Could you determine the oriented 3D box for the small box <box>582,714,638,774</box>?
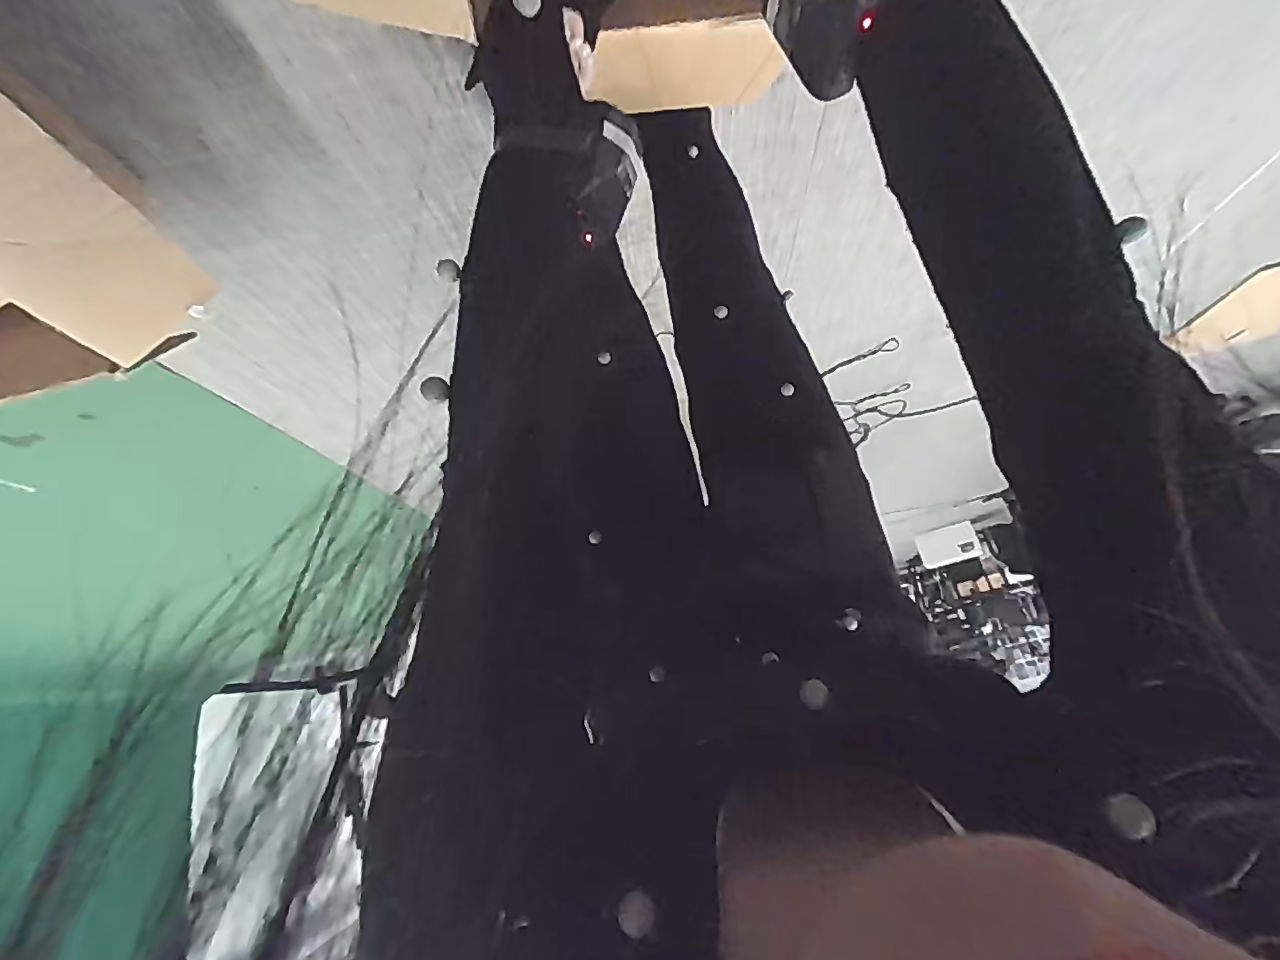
[{"bbox_3d":[-0.116,0.984,2.034,0.179,0.176,0.168,-9,159,-8],"label":"small box"}]
